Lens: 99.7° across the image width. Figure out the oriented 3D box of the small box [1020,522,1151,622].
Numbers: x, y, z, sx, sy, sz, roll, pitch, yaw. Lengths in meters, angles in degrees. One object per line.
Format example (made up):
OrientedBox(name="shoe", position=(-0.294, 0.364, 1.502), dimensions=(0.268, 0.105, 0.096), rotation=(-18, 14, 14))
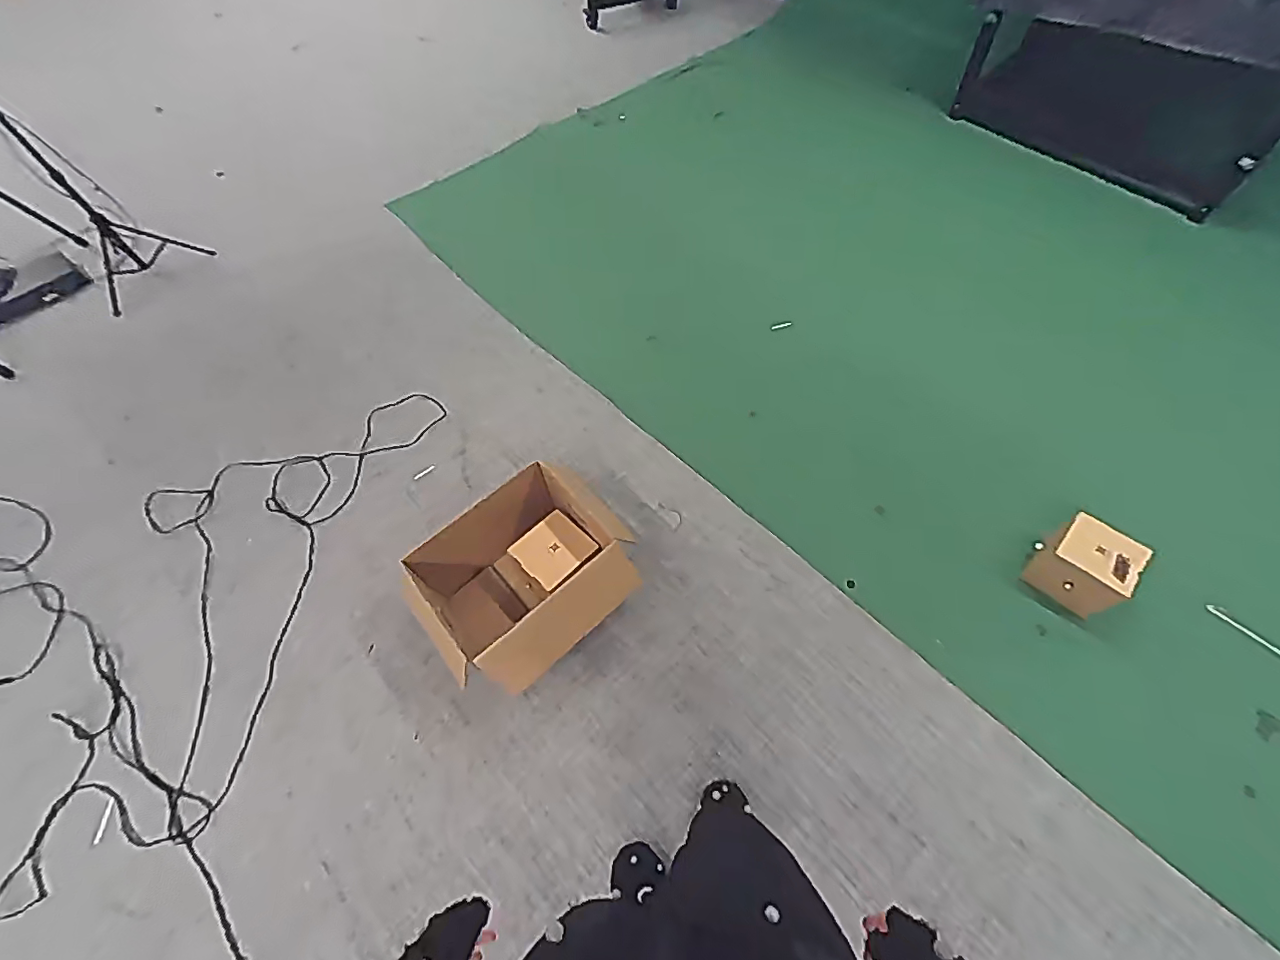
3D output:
OrientedBox(name="small box", position=(1.151, 0.249, 1.410), dimensions=(0.179, 0.176, 0.168), rotation=(38, 67, 23))
